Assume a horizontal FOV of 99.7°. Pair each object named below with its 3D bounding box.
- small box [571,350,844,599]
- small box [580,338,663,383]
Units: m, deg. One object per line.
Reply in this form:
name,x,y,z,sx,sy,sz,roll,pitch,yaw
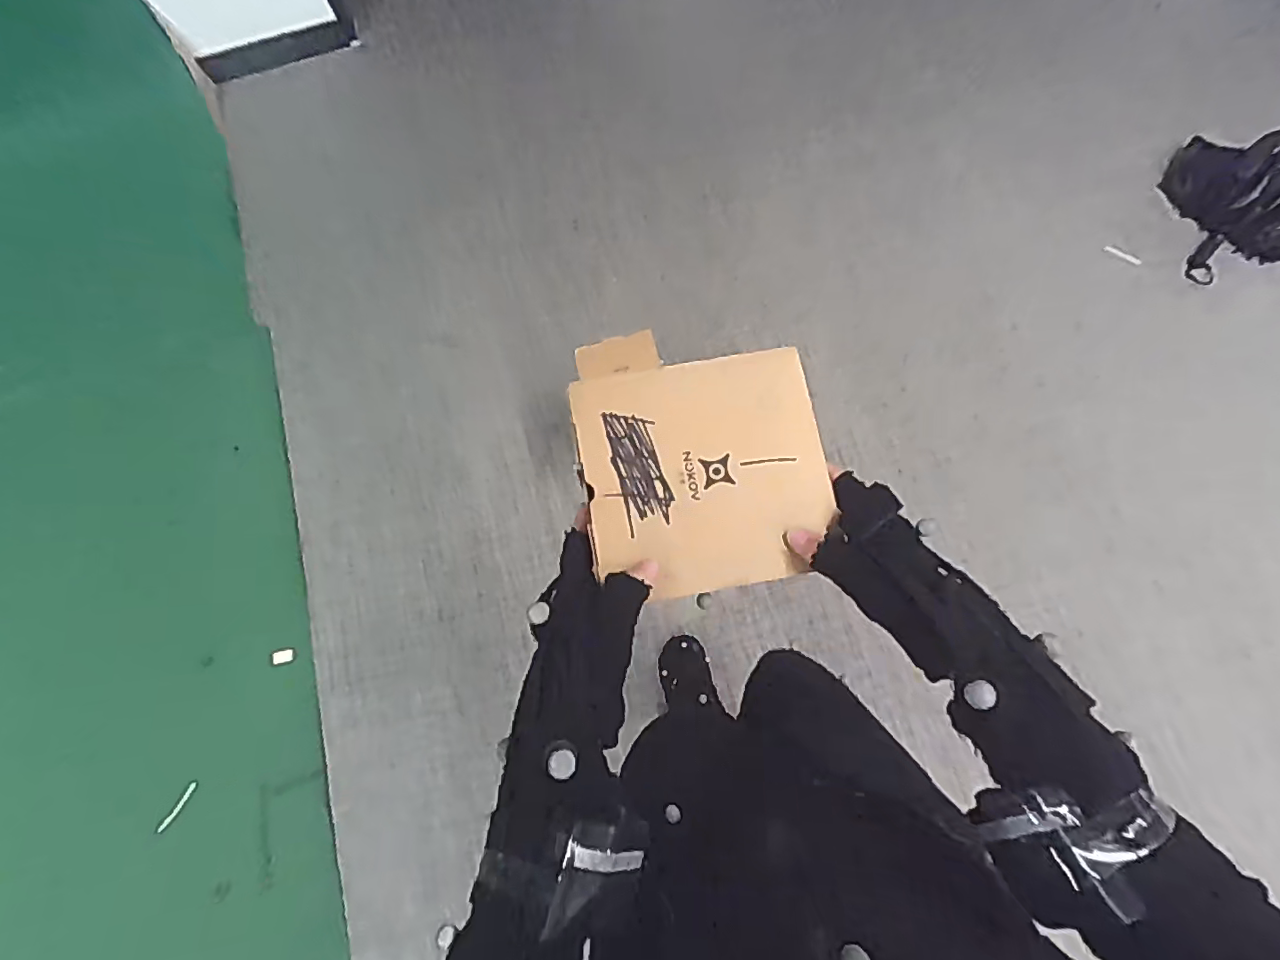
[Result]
small box,0.046,0.009,0.471,0.179,0.176,0.168,-10,79,-3
small box,-0.023,-0.174,1.172,0.168,0.176,0.179,-16,76,1
